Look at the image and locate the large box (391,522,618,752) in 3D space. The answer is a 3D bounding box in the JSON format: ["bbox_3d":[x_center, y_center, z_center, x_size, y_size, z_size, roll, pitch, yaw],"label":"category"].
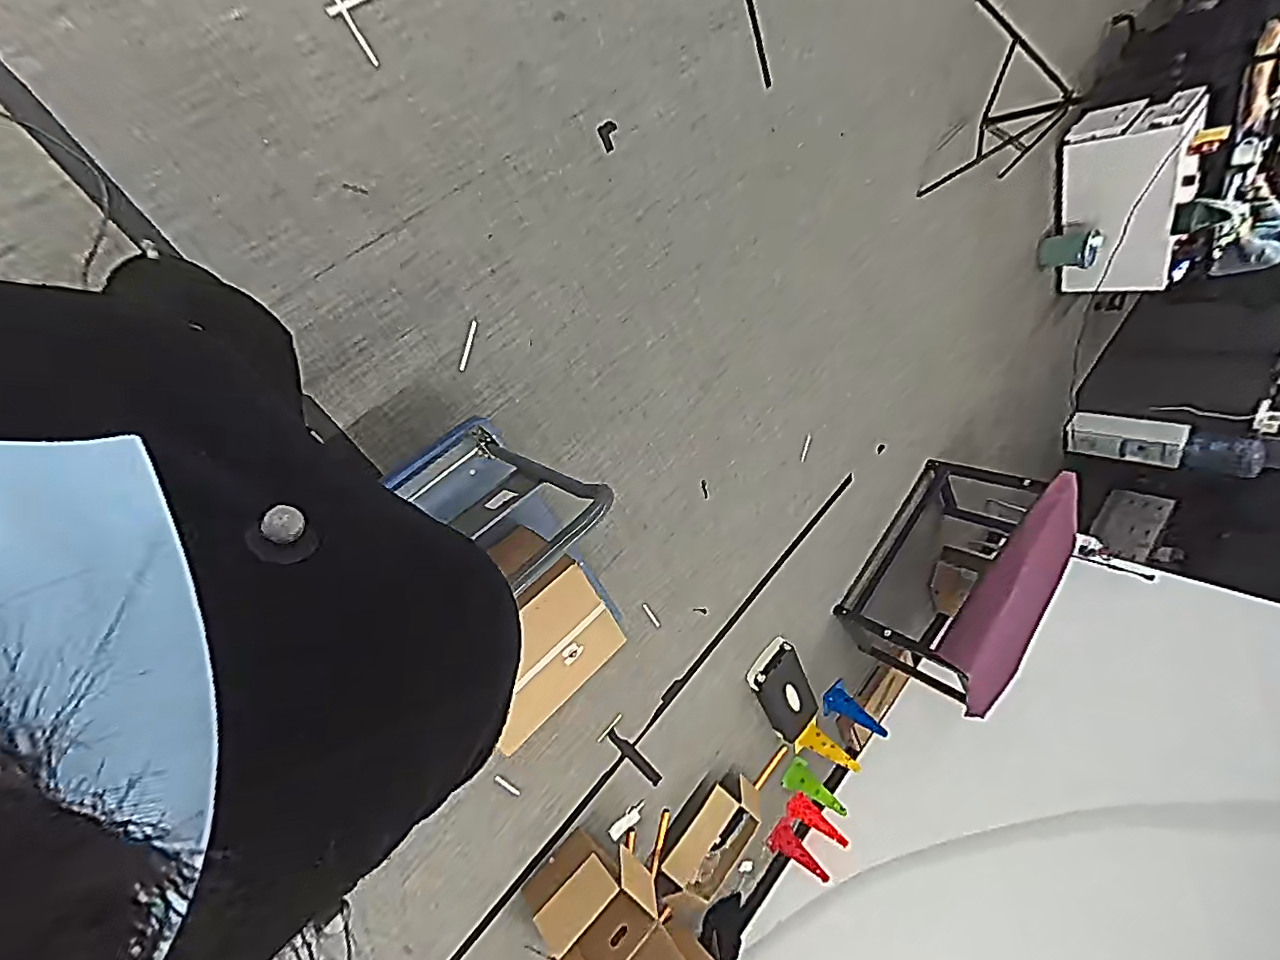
[{"bbox_3d":[-0.340,0.377,1.383,0.408,0.320,0.320,-41,126,-23],"label":"large box"}]
